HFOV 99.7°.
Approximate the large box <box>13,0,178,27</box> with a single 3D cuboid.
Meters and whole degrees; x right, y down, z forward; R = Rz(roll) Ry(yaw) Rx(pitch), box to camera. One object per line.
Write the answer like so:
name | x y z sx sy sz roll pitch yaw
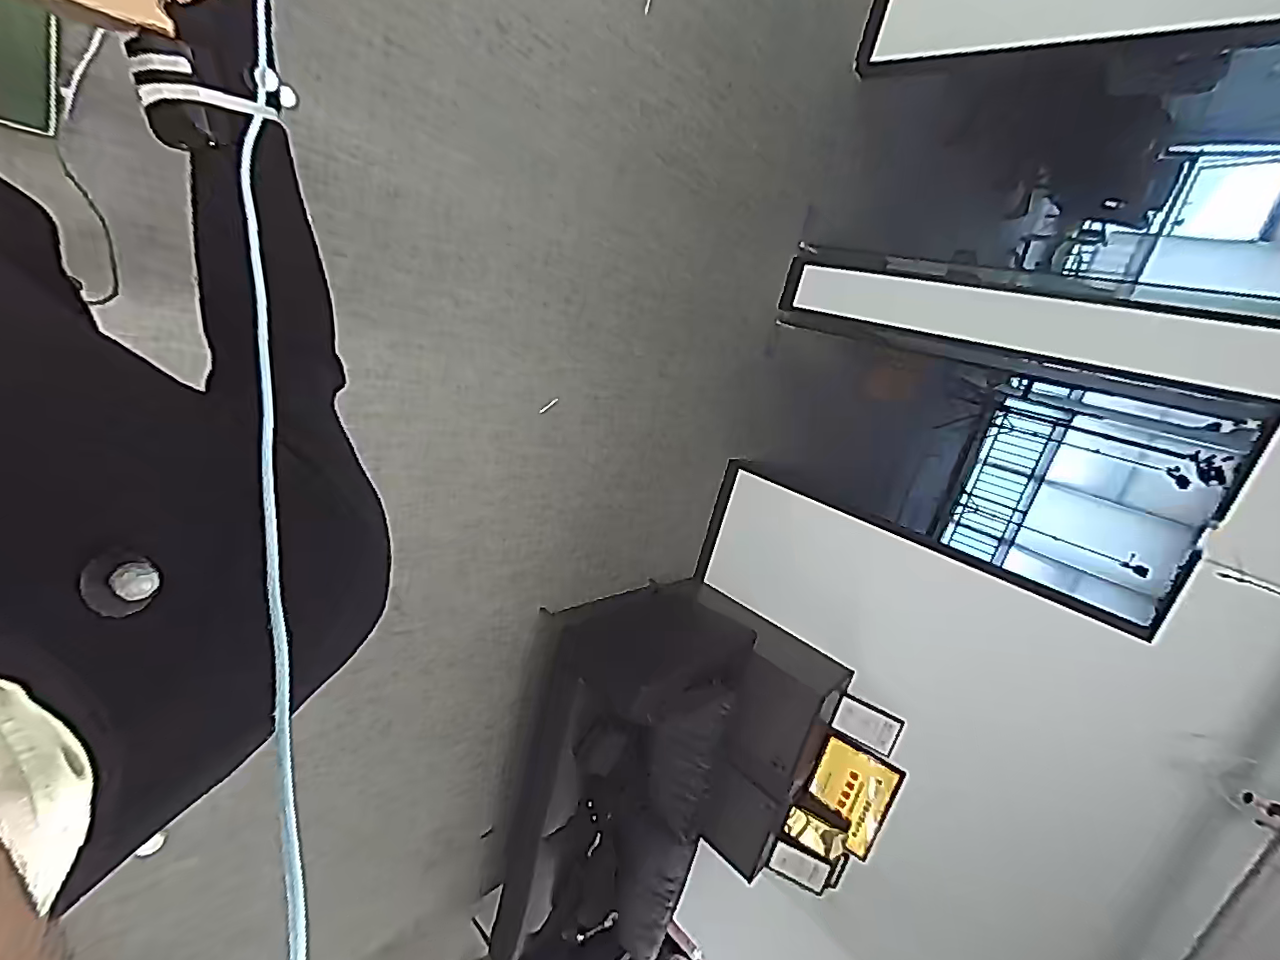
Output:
large box | -0.529 -0.503 0.264 0.408 0.320 0.320 -10 125 -51
